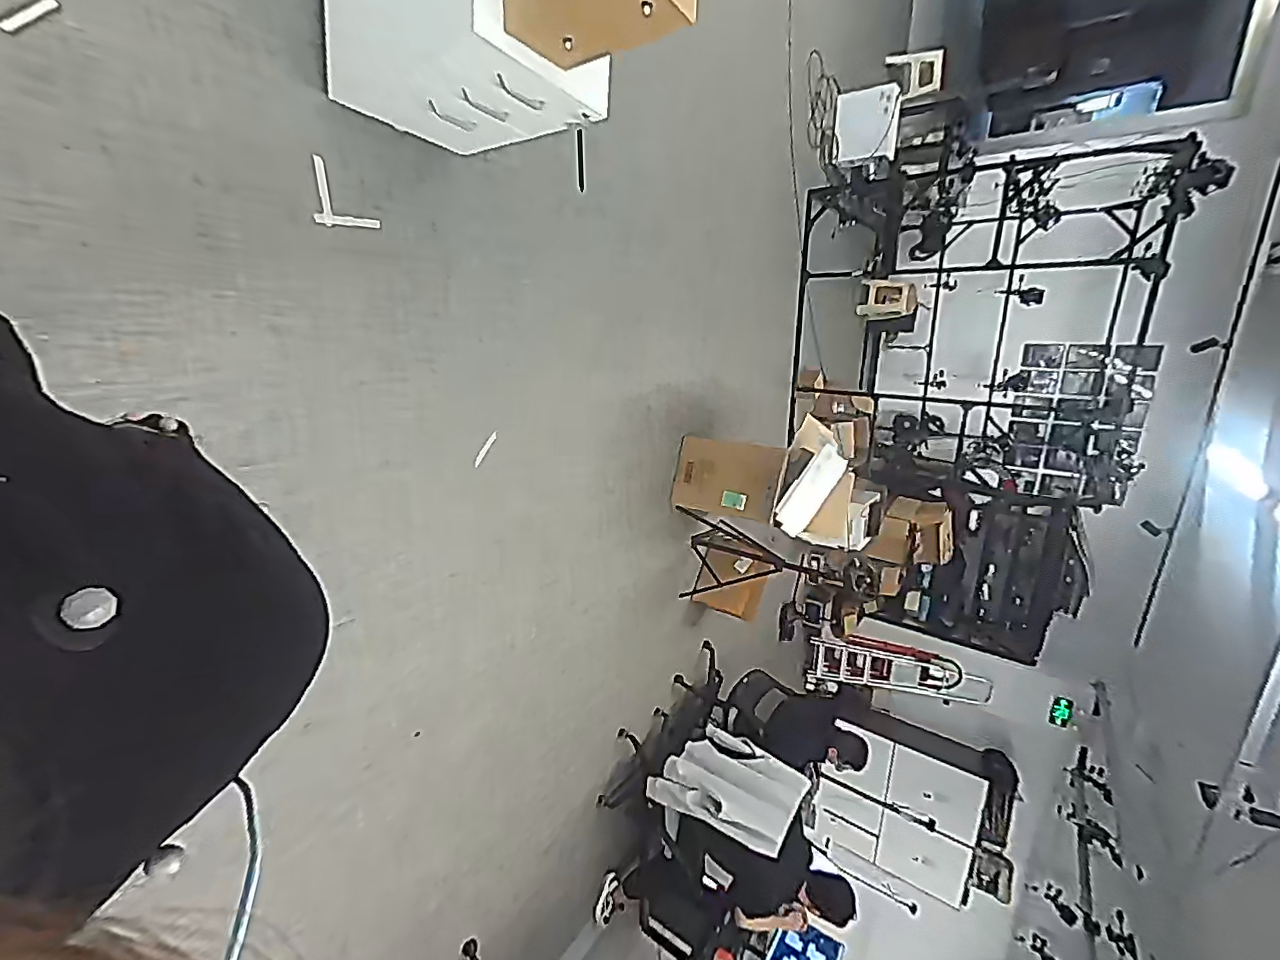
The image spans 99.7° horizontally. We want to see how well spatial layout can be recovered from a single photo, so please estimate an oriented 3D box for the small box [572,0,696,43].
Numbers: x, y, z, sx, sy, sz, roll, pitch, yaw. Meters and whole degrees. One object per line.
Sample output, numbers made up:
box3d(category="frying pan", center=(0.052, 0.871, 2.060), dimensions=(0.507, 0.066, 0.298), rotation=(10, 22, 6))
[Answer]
box3d(category="small box", center=(-0.012, -0.927, 0.964), dimensions=(0.179, 0.176, 0.168), rotation=(-16, 112, -53))
